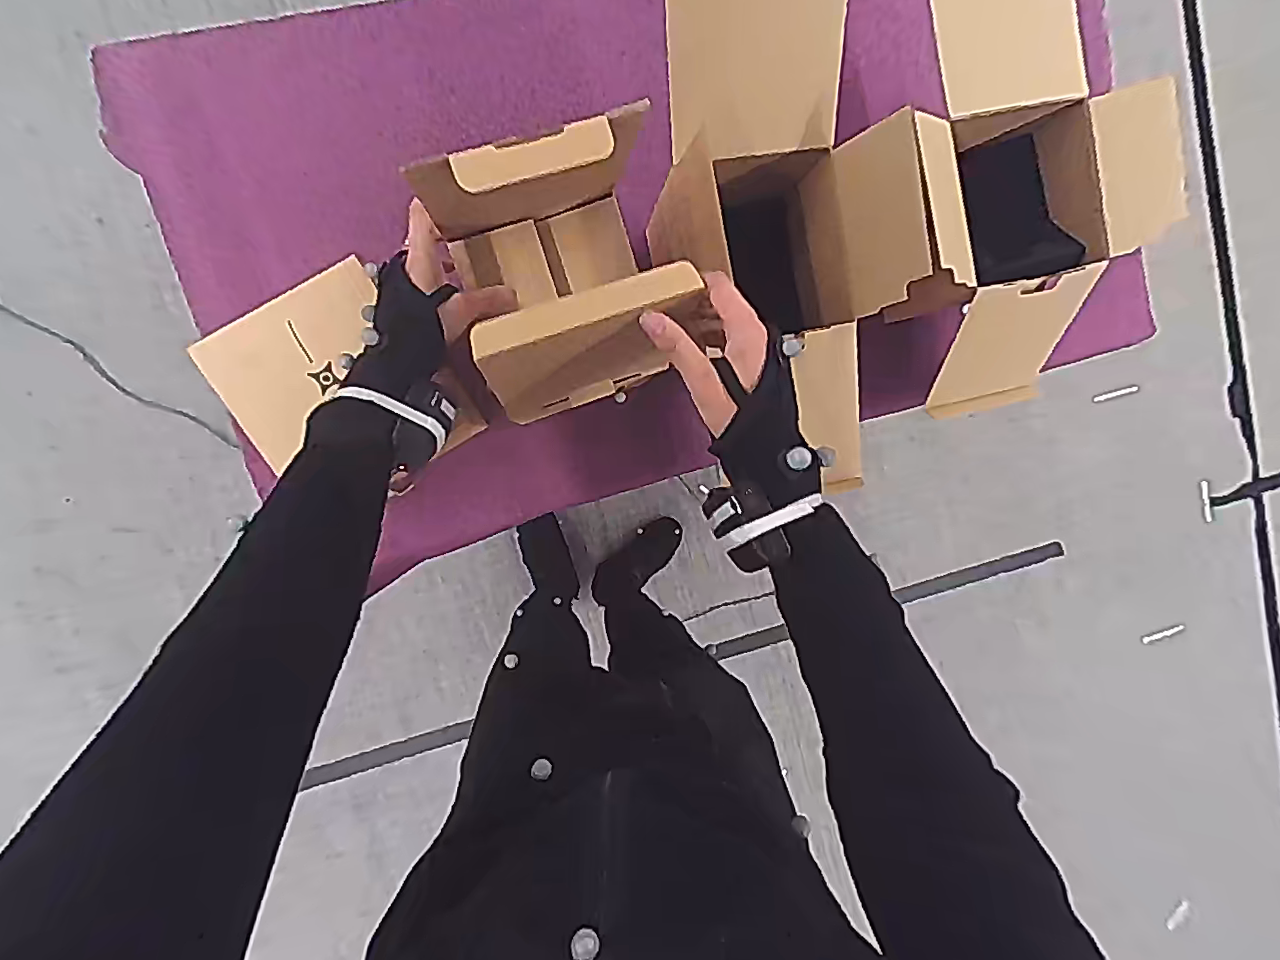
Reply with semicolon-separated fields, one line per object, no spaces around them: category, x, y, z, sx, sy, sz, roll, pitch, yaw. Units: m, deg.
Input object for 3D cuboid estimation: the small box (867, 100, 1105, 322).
small box;0.396;-0.305;0.645;0.168;0.176;0.179;-13;97;-7
